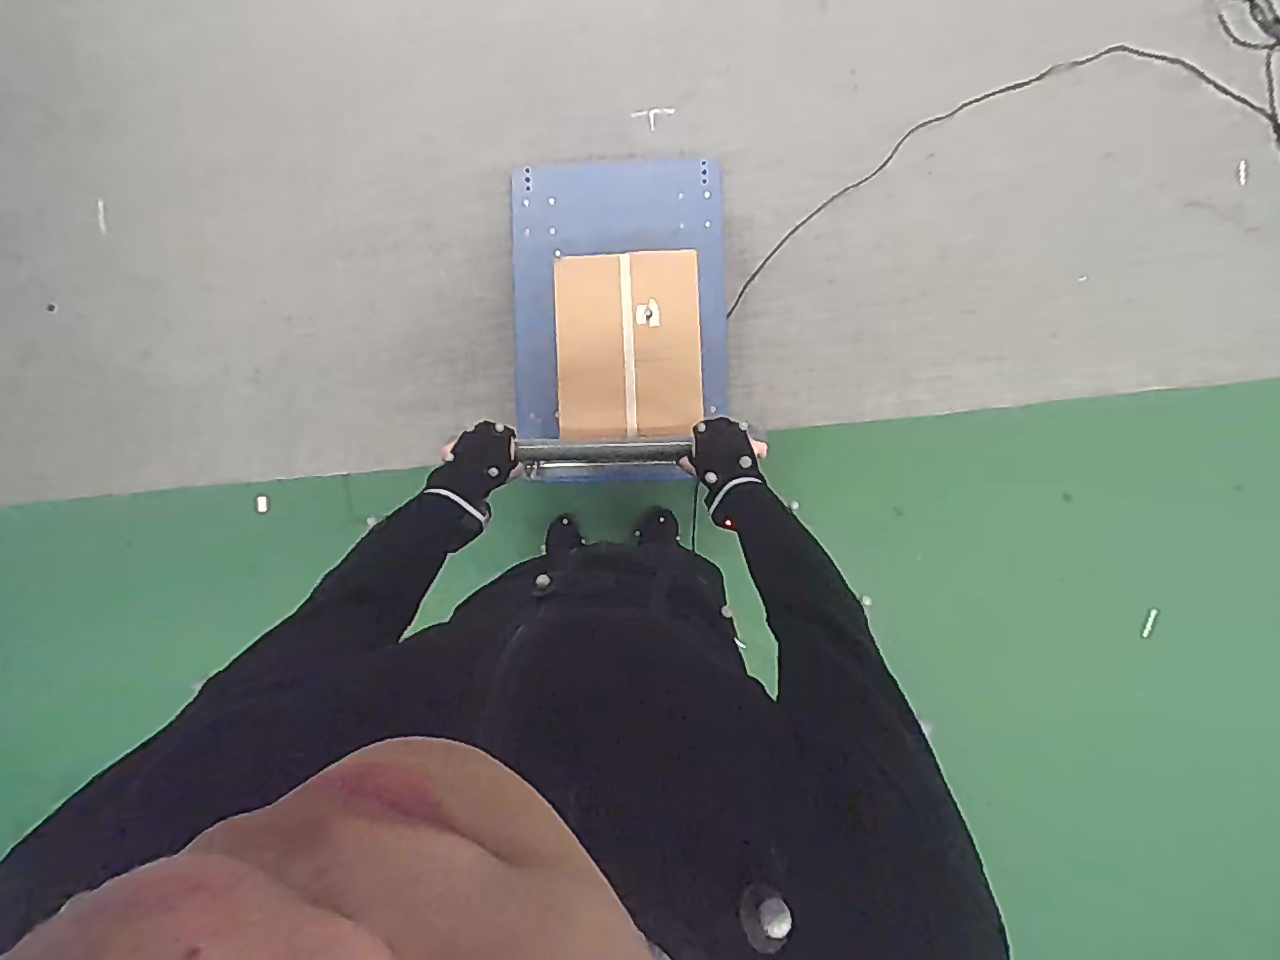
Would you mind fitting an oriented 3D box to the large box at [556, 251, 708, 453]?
[{"bbox_3d":[-0.014,-0.281,1.301,0.320,0.320,0.408,-2,89,1],"label":"large box"}]
